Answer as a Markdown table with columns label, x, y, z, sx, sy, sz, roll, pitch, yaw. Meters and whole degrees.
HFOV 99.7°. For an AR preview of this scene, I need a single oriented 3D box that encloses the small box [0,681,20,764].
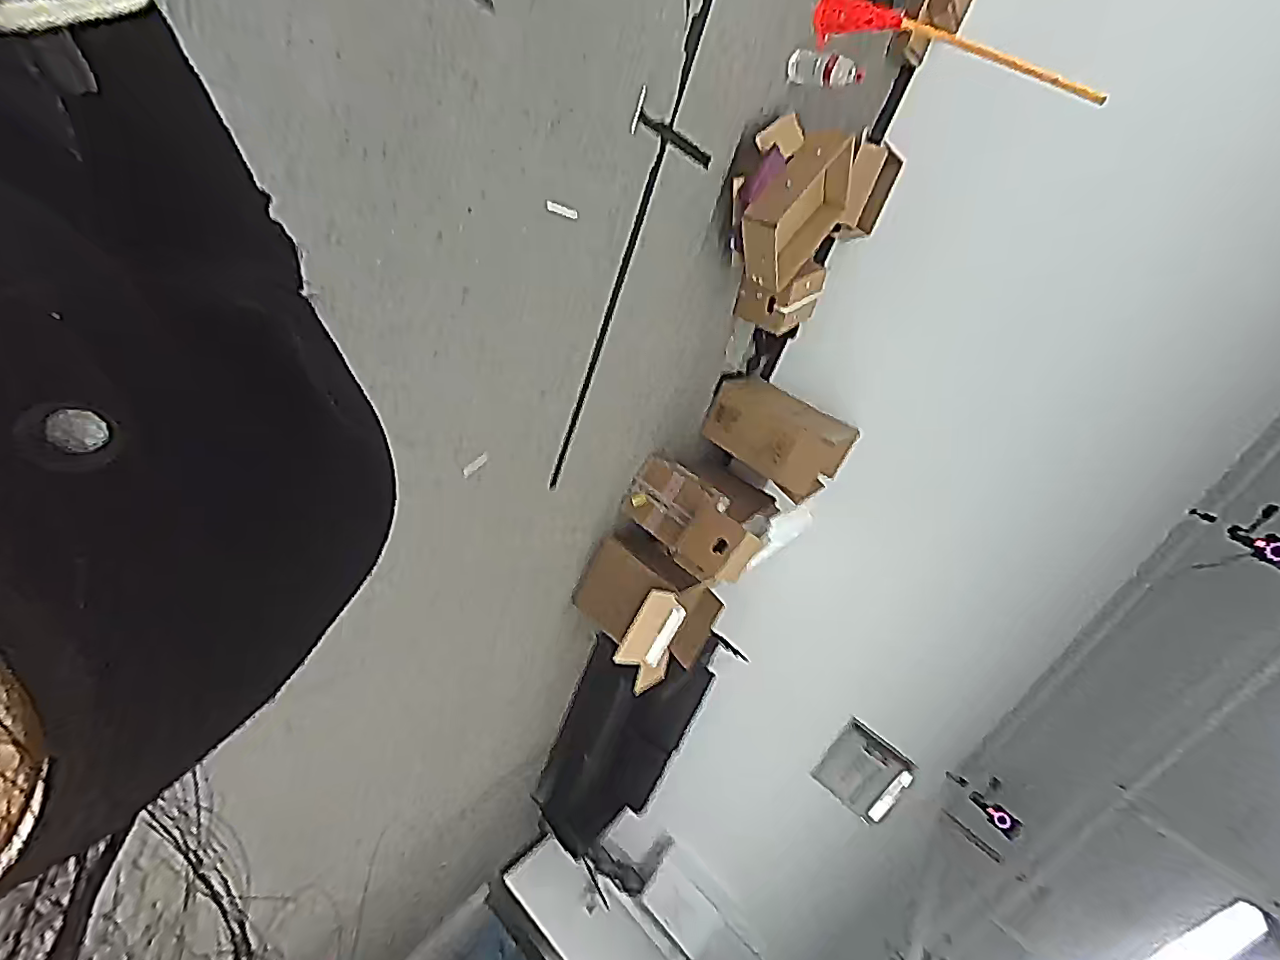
| label | x | y | z | sx | sy | sz | roll | pitch | yaw |
| --- | --- | --- | --- | --- | --- | --- | --- | --- | --- |
| small box | -1.352 | 0.468 | 1.038 | 0.179 | 0.176 | 0.168 | -18 | 136 | -52 |

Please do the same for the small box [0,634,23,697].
| label | x | y | z | sx | sy | sz | roll | pitch | yaw |
| --- | --- | --- | --- | --- | --- | --- | --- | --- | --- |
| small box | -1.461 | 0.381 | 1.129 | 0.179 | 0.176 | 0.168 | -23 | 138 | -50 |
